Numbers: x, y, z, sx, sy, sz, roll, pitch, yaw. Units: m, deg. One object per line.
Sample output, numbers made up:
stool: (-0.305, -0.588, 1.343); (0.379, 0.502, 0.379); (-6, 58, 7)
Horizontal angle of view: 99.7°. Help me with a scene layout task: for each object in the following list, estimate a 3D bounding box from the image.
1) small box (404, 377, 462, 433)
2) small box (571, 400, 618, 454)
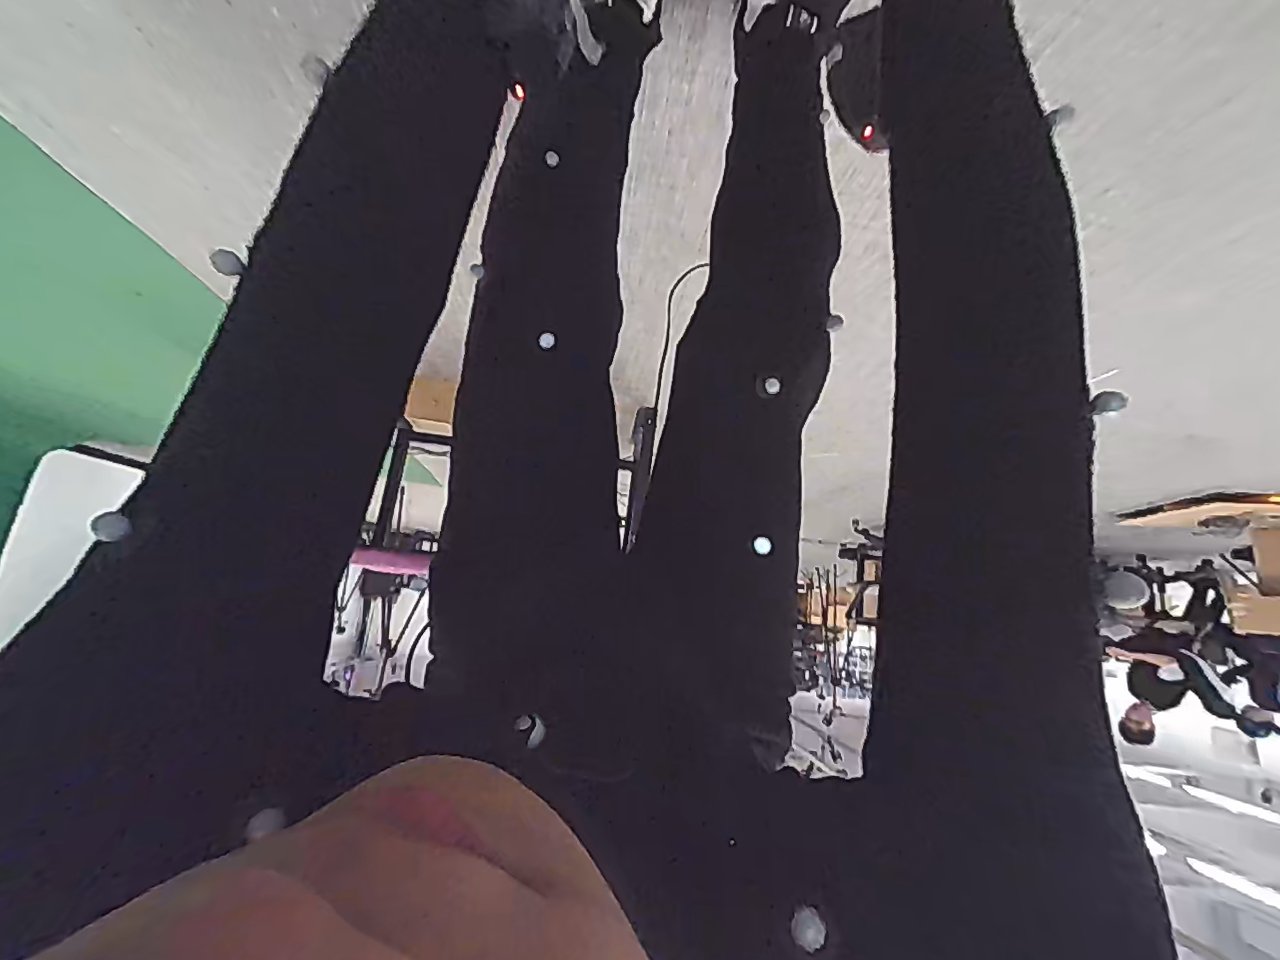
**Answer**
small box: (-0.813, -0.297, 2.144); (0.179, 0.176, 0.168); (8, 167, -7)
small box: (-0.181, -0.214, 2.188); (0.168, 0.176, 0.179); (7, 168, 1)
